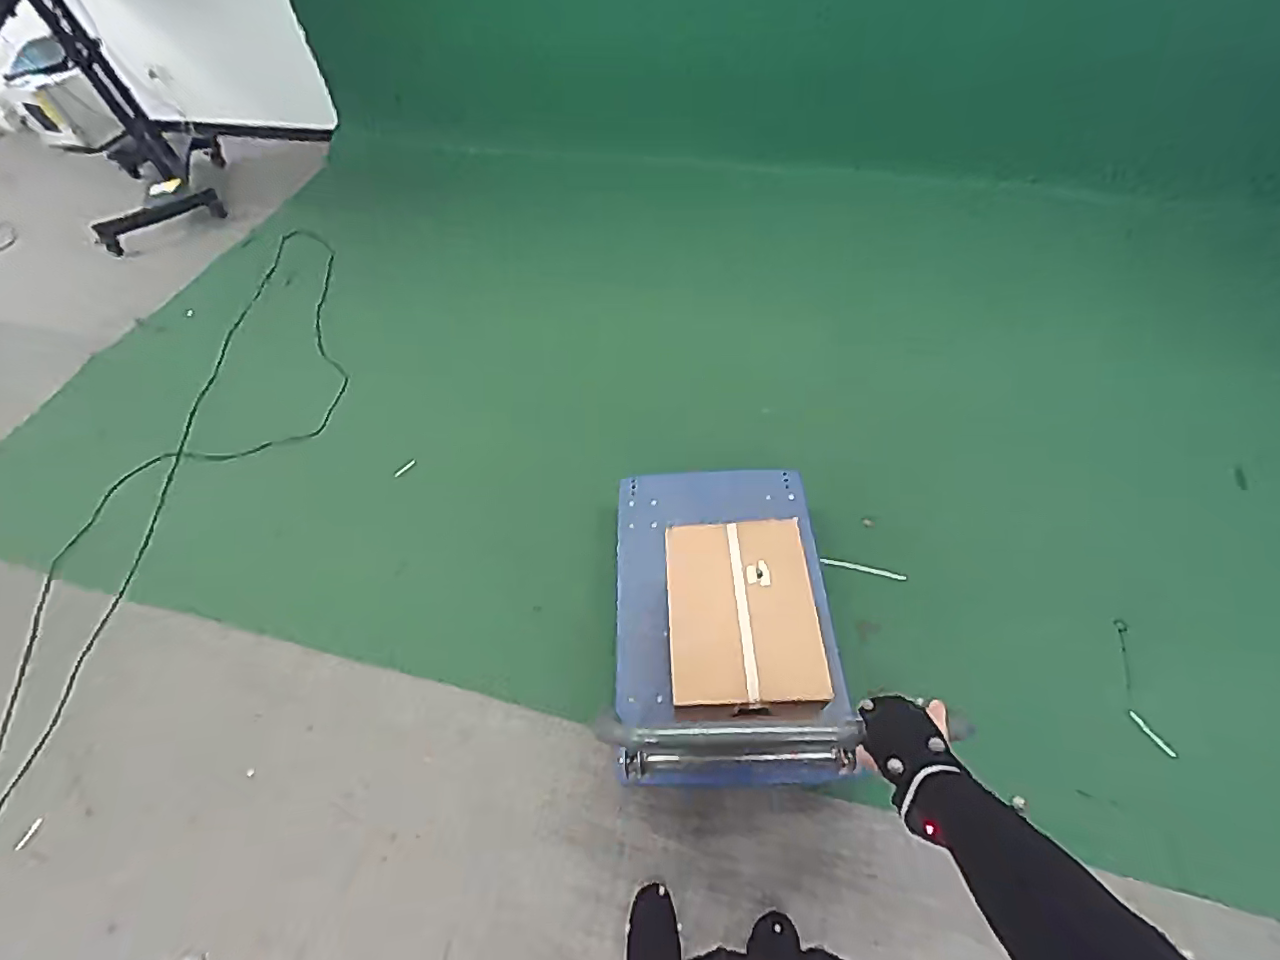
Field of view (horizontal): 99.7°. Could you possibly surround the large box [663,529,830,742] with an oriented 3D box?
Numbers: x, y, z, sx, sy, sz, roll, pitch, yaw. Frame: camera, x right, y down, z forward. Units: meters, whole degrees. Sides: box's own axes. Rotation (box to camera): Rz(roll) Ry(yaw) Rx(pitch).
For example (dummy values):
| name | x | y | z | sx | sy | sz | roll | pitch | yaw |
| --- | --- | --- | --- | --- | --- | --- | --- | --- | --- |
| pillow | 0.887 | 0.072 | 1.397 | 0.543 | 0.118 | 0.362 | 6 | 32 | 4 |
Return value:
| name | x | y | z | sx | sy | sz | roll | pitch | yaw |
| --- | --- | --- | --- | --- | --- | --- | --- | --- | --- |
| large box | 0.227 | 0.374 | 1.290 | 0.320 | 0.320 | 0.408 | -3 | 54 | 3 |
